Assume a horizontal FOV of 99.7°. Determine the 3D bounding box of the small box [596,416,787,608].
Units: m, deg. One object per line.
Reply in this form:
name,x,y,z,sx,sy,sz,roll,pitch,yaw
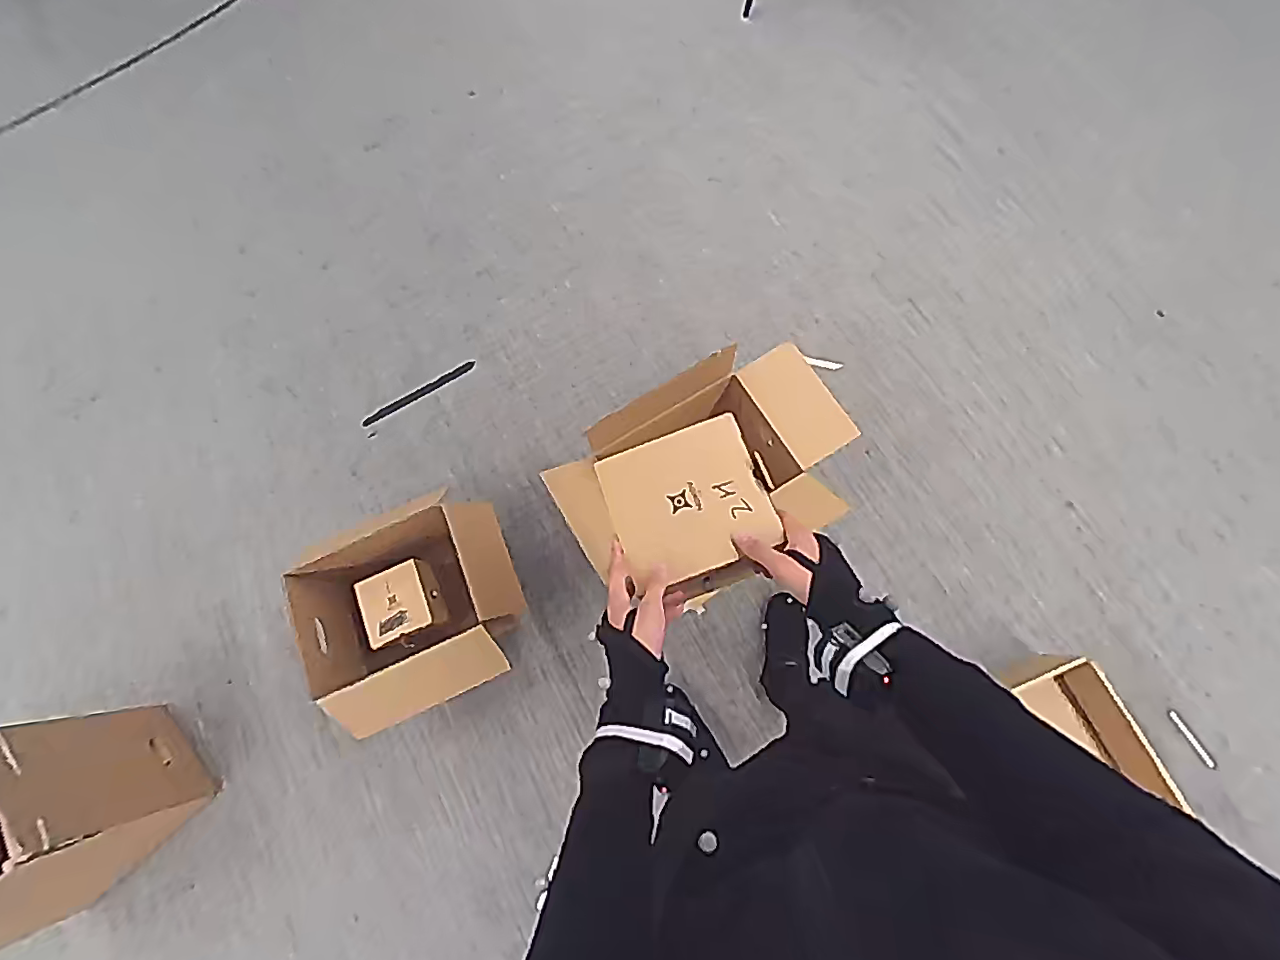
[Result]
small box,0.064,0.051,0.675,0.179,0.176,0.168,-19,69,0
